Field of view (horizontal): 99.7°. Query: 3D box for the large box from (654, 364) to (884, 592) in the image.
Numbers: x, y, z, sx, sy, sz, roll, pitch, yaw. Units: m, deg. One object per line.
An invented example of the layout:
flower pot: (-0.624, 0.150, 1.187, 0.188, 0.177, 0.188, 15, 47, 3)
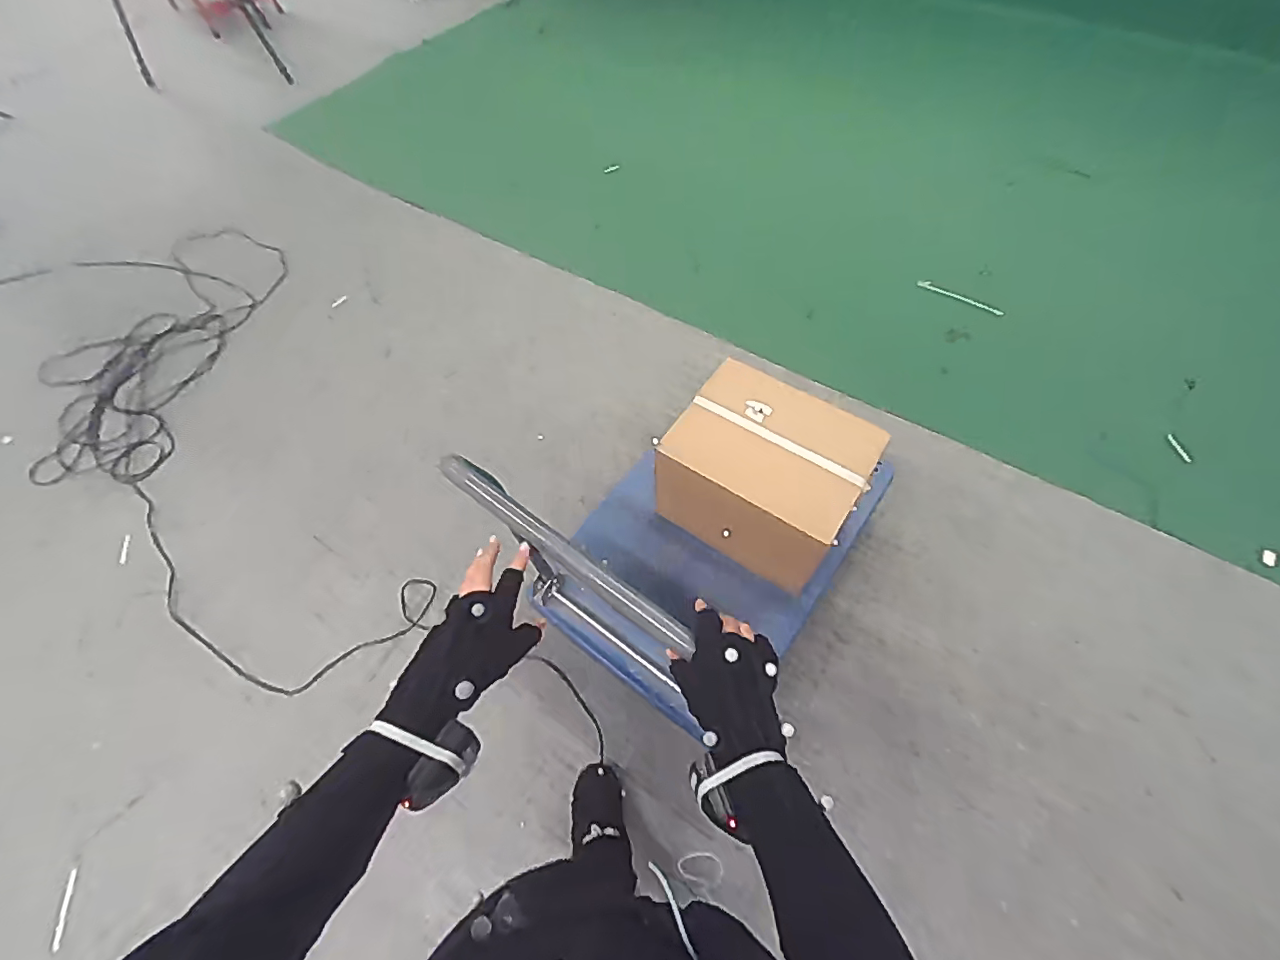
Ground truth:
large box: (0.285, 0.000, 1.282, 0.408, 0.320, 0.320, 30, 64, 19)
